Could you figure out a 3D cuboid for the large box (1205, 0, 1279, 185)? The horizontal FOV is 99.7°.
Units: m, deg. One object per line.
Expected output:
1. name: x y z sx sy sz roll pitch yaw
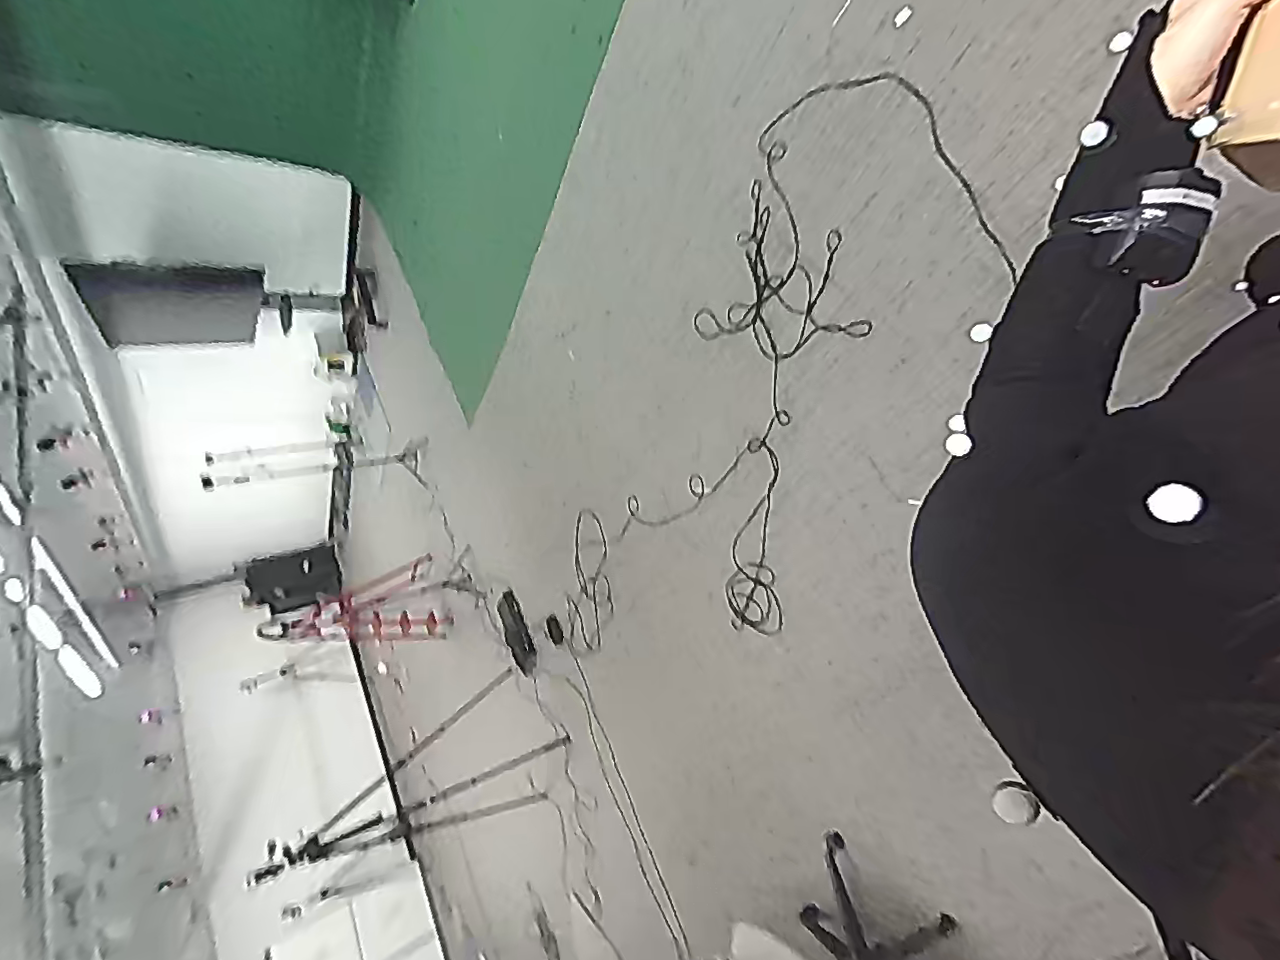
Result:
1. large box: 0.638 -0.355 0.266 0.408 0.320 0.320 25 121 49
